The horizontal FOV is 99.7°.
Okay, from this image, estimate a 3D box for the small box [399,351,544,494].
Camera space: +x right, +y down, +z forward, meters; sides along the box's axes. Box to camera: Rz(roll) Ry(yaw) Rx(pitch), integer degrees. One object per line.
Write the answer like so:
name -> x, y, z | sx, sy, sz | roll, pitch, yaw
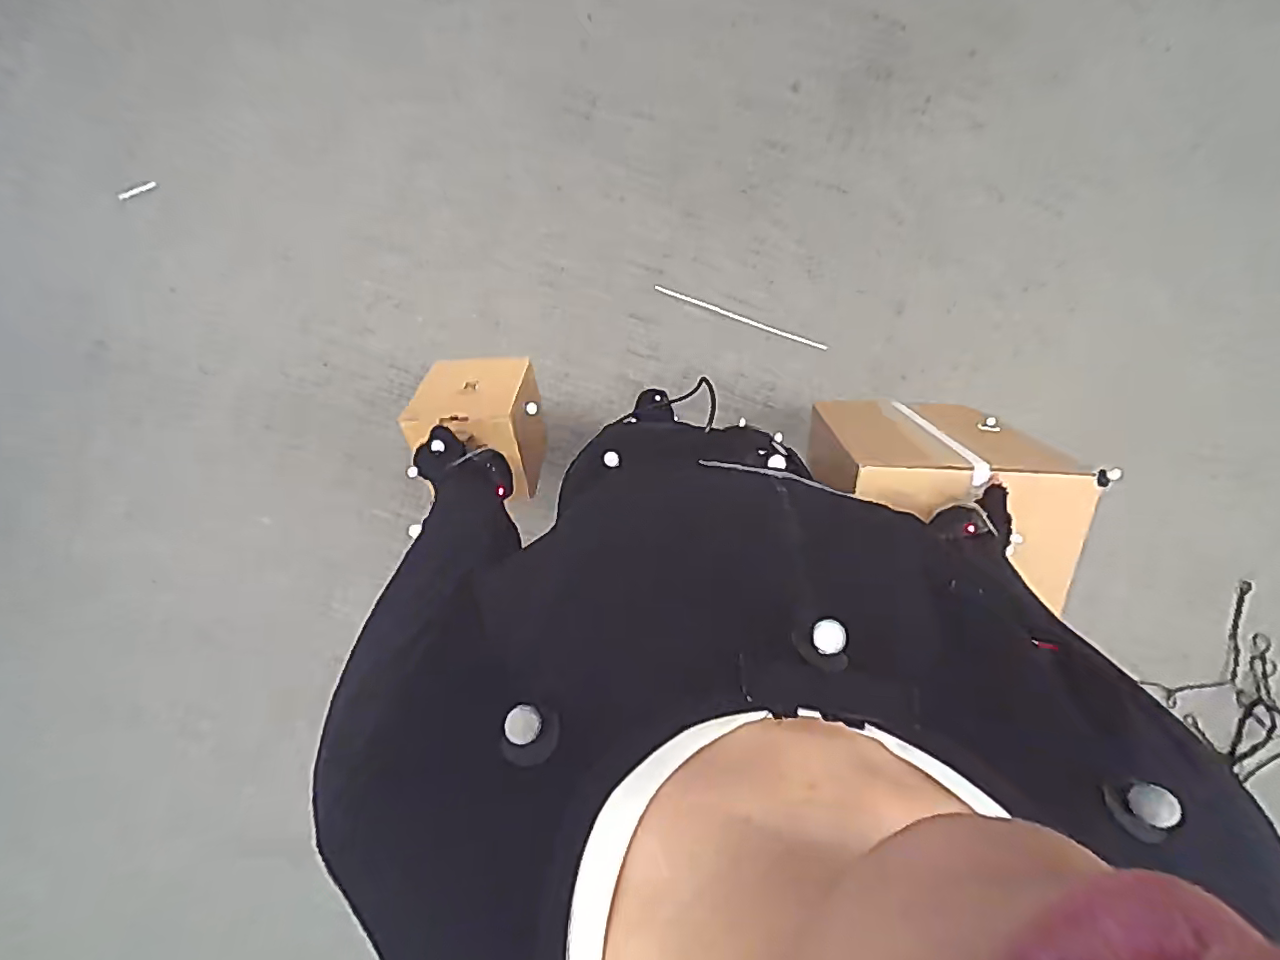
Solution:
small box -> -0.262, -0.095, 0.891 | 0.168, 0.179, 0.176 | -2, 133, 4
